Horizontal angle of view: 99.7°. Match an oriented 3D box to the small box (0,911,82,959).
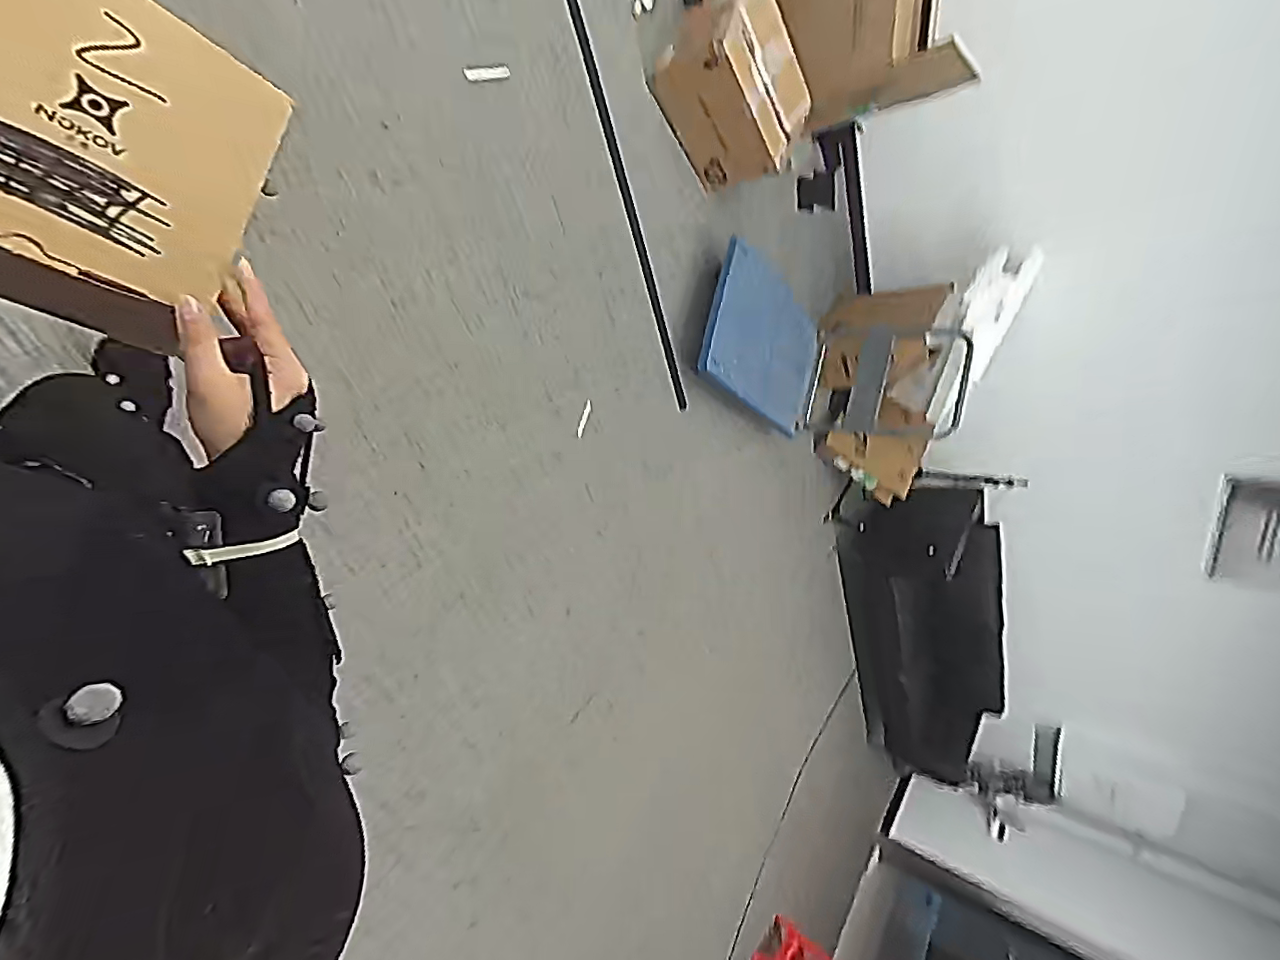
[{"bbox_3d":[-0.907,0.762,0.739,0.179,0.176,0.168,-33,119,-42],"label":"small box"}]
